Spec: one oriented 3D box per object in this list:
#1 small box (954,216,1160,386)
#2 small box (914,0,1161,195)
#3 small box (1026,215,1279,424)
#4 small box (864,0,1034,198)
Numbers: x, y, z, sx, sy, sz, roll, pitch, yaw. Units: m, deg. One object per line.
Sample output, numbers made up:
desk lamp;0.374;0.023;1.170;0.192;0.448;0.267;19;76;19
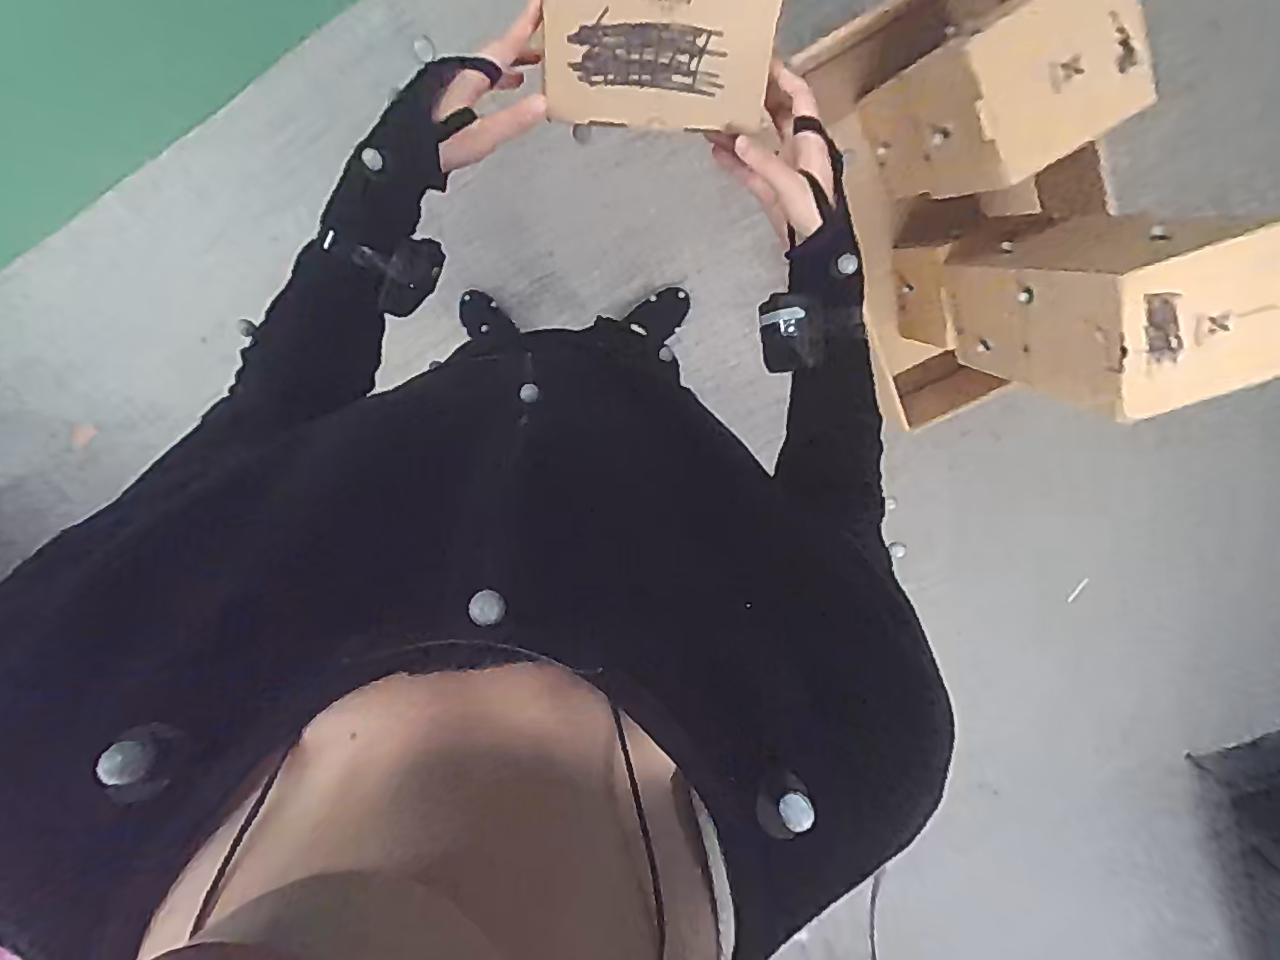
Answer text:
small box;0.574;-0.253;0.766;0.179;0.176;0.168;-20;112;7
small box;0.468;-0.478;0.667;0.179;0.176;0.168;-28;111;11
small box;0.577;-0.185;0.618;0.179;0.176;0.168;-18;113;5
small box;0.473;-0.554;0.813;0.179;0.176;0.168;-29;110;10
